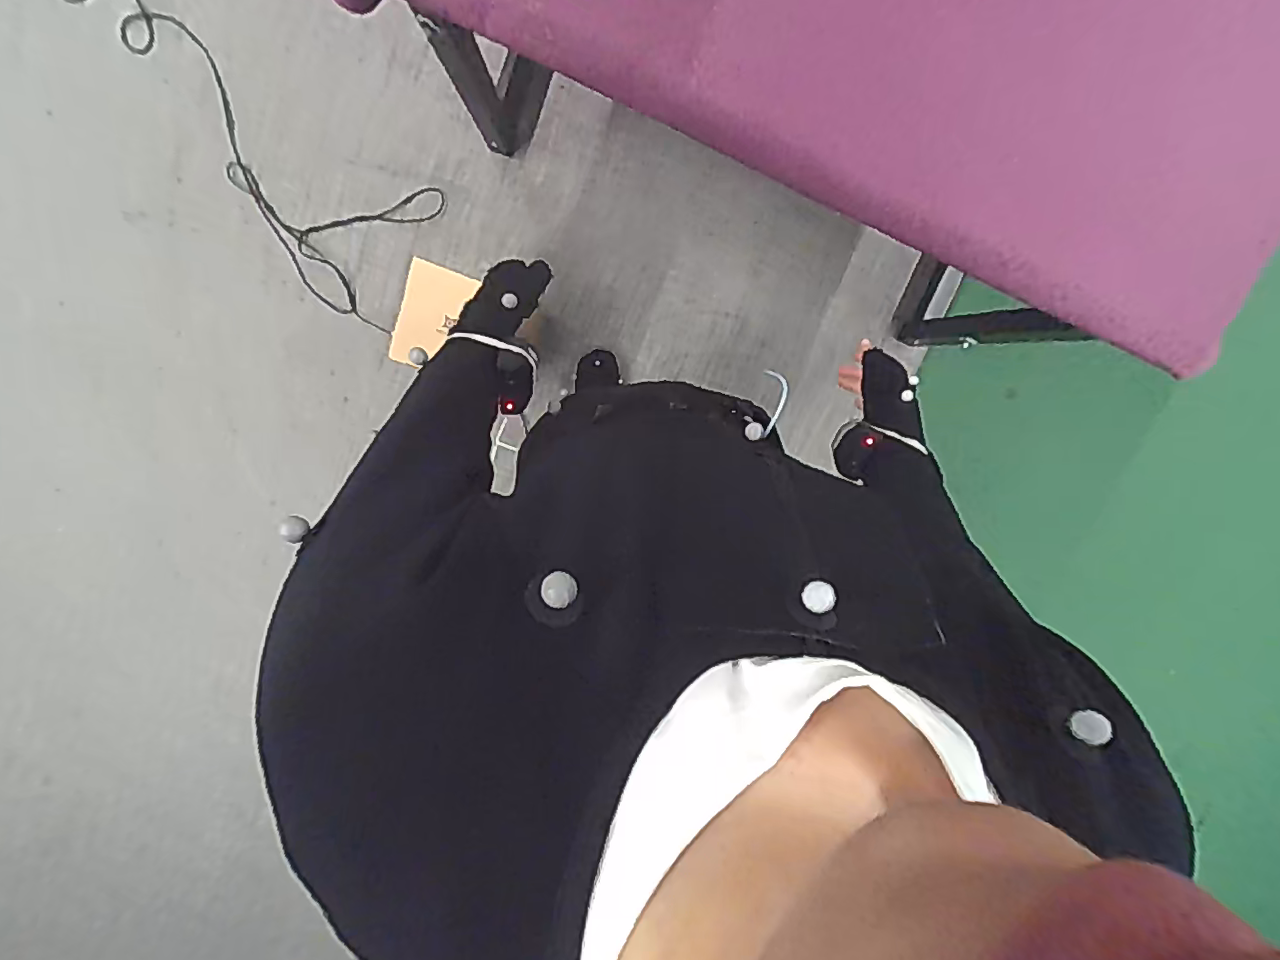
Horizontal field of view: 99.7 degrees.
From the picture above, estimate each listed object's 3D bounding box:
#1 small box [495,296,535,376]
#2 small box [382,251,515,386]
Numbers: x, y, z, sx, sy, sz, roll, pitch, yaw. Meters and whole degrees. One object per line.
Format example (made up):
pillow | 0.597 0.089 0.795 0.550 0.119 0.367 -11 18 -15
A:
small box | -0.360 -0.366 1.297 0.168 0.176 0.179 22 102 -9
small box | -0.335 -0.287 0.979 0.168 0.176 0.179 19 104 -9
